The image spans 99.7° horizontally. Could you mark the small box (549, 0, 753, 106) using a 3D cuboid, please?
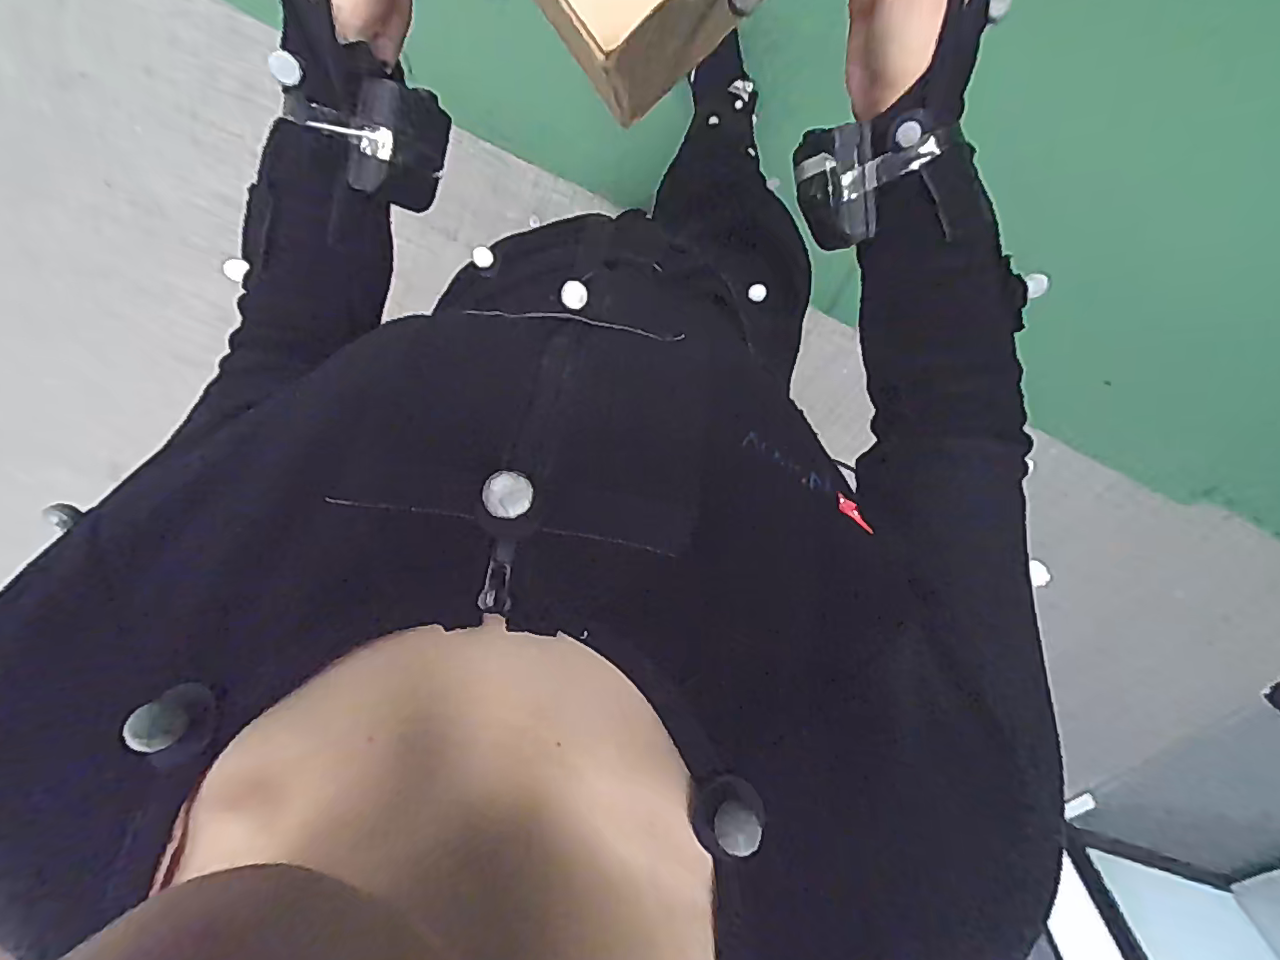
[{"bbox_3d":[0.006,-0.308,0.235,0.179,0.176,0.168,-35,109,18],"label":"small box"}]
